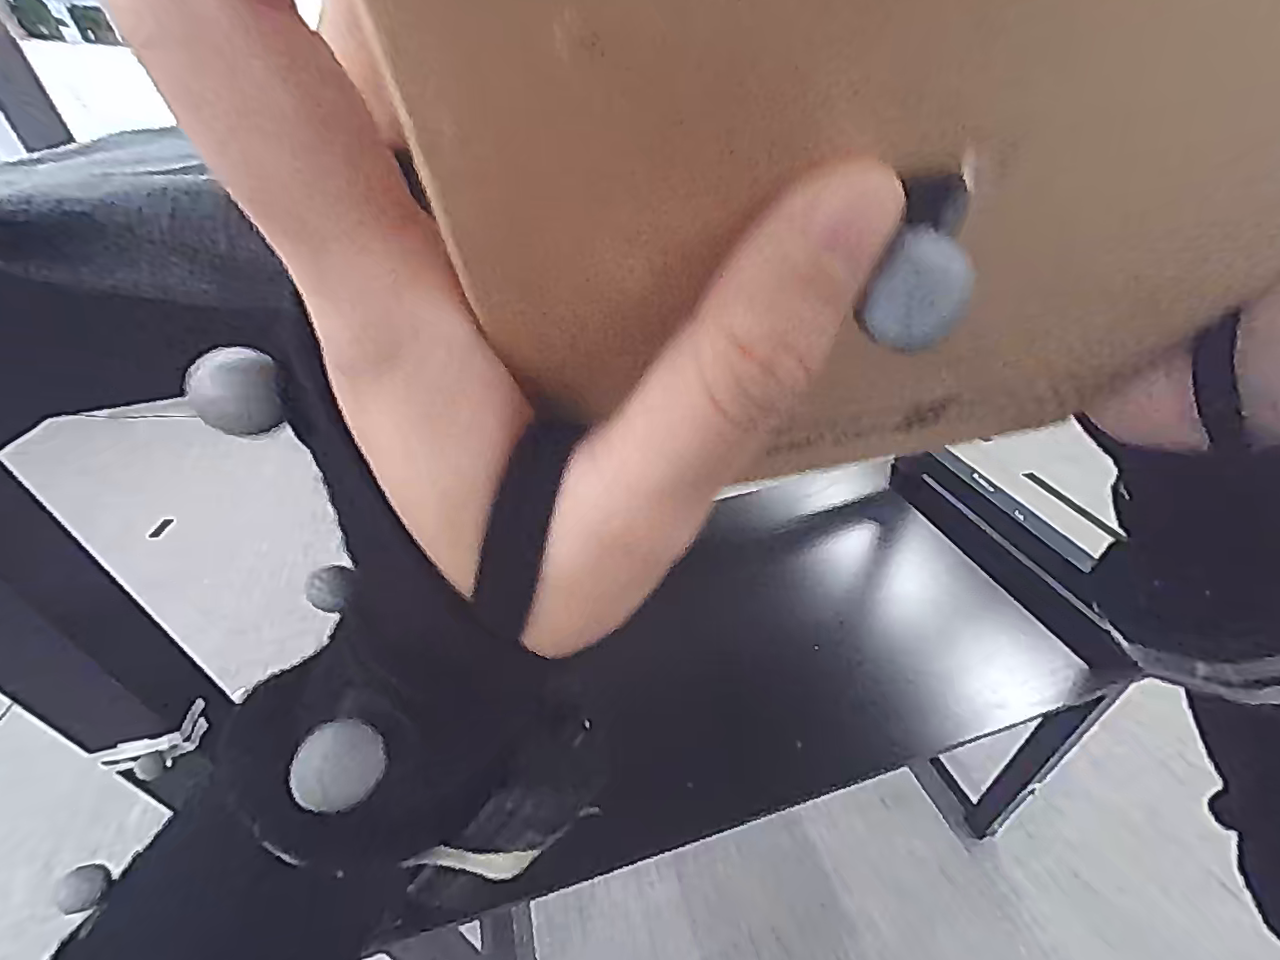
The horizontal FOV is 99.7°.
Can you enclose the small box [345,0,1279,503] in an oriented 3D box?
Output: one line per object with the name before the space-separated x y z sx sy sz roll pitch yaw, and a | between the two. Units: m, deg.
small box | 0.043 -0.105 0.123 0.168 0.176 0.179 -9 67 -6
